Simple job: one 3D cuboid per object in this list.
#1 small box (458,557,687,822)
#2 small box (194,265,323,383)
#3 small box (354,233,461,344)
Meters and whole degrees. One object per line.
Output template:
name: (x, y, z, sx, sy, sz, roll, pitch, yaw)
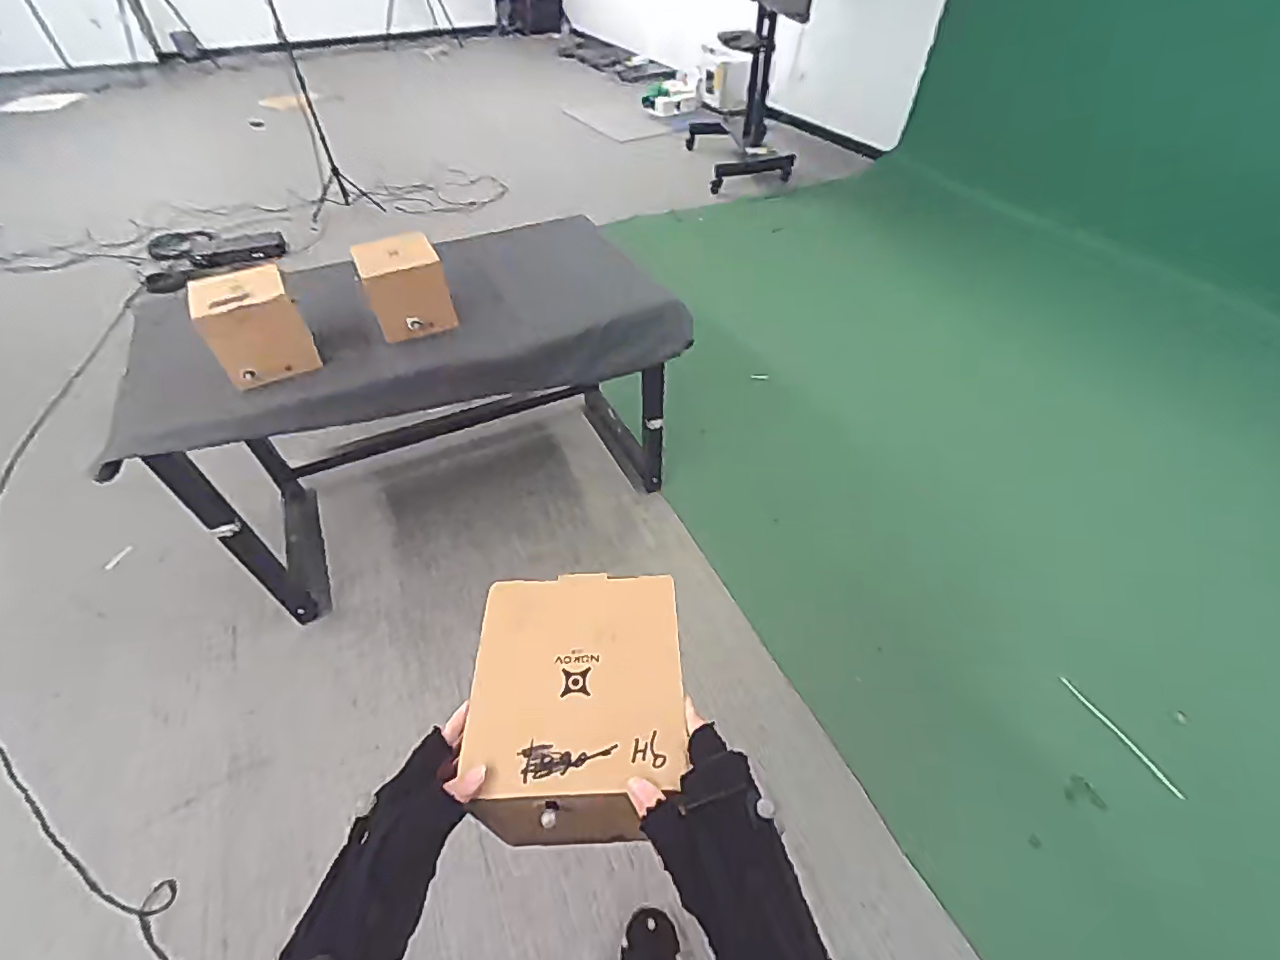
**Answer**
small box: (-0.047, 0.192, 0.495, 0.168, 0.176, 0.179, -4, 47, 1)
small box: (-0.797, -0.323, 1.140, 0.168, 0.176, 0.179, -24, 49, -21)
small box: (-0.535, -0.444, 1.255, 0.168, 0.176, 0.179, -23, 52, -18)
